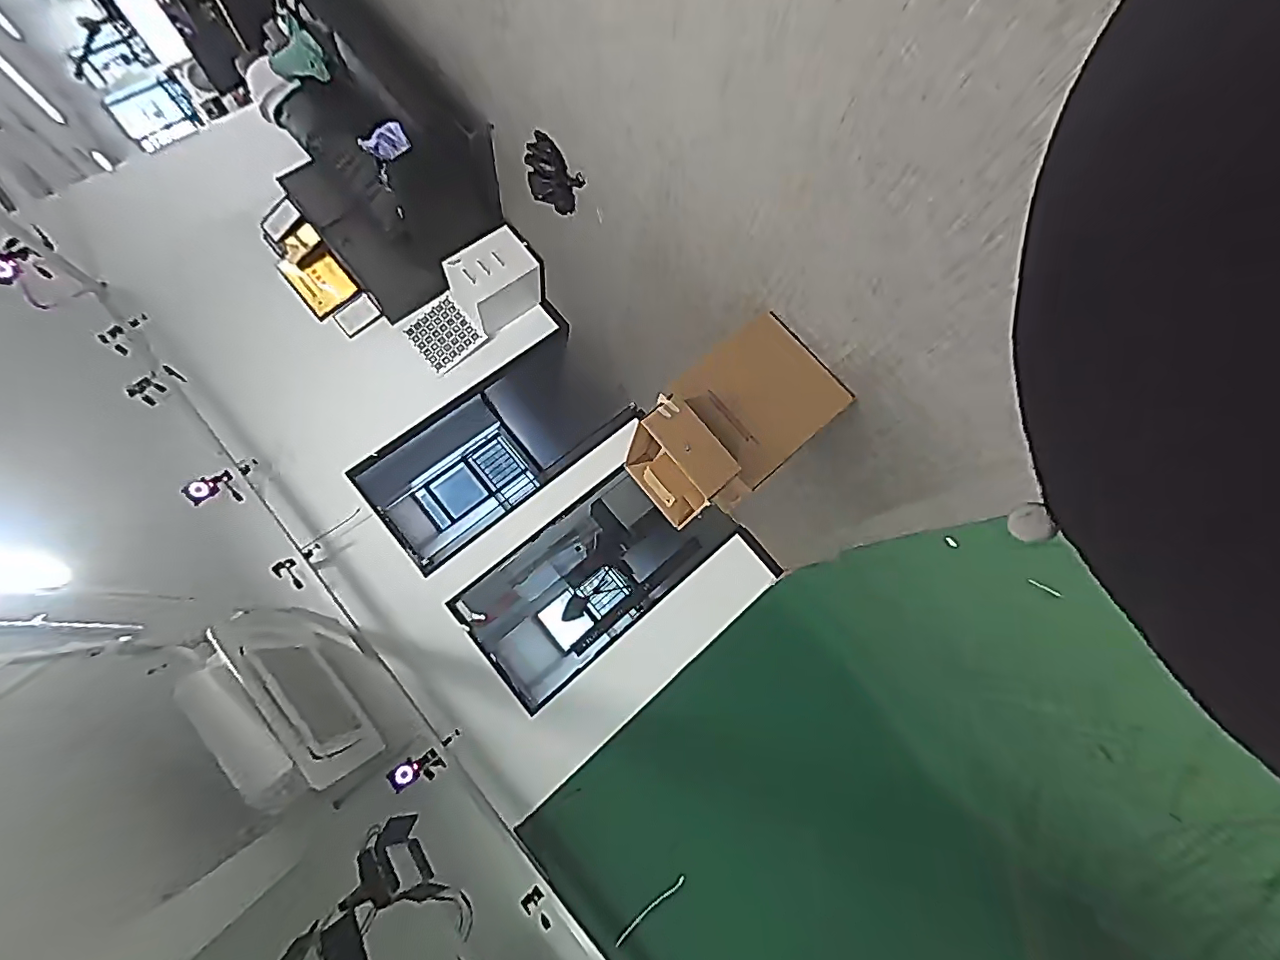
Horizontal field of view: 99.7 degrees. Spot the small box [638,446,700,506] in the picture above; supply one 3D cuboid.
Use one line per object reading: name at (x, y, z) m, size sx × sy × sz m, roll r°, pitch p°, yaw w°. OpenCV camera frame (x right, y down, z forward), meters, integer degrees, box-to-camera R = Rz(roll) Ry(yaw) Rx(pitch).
small box at (0.117, -0.022, 2.230) m, size 0.179 × 0.176 × 0.168 m, roll 51°, pitch 167°, yaw 8°
